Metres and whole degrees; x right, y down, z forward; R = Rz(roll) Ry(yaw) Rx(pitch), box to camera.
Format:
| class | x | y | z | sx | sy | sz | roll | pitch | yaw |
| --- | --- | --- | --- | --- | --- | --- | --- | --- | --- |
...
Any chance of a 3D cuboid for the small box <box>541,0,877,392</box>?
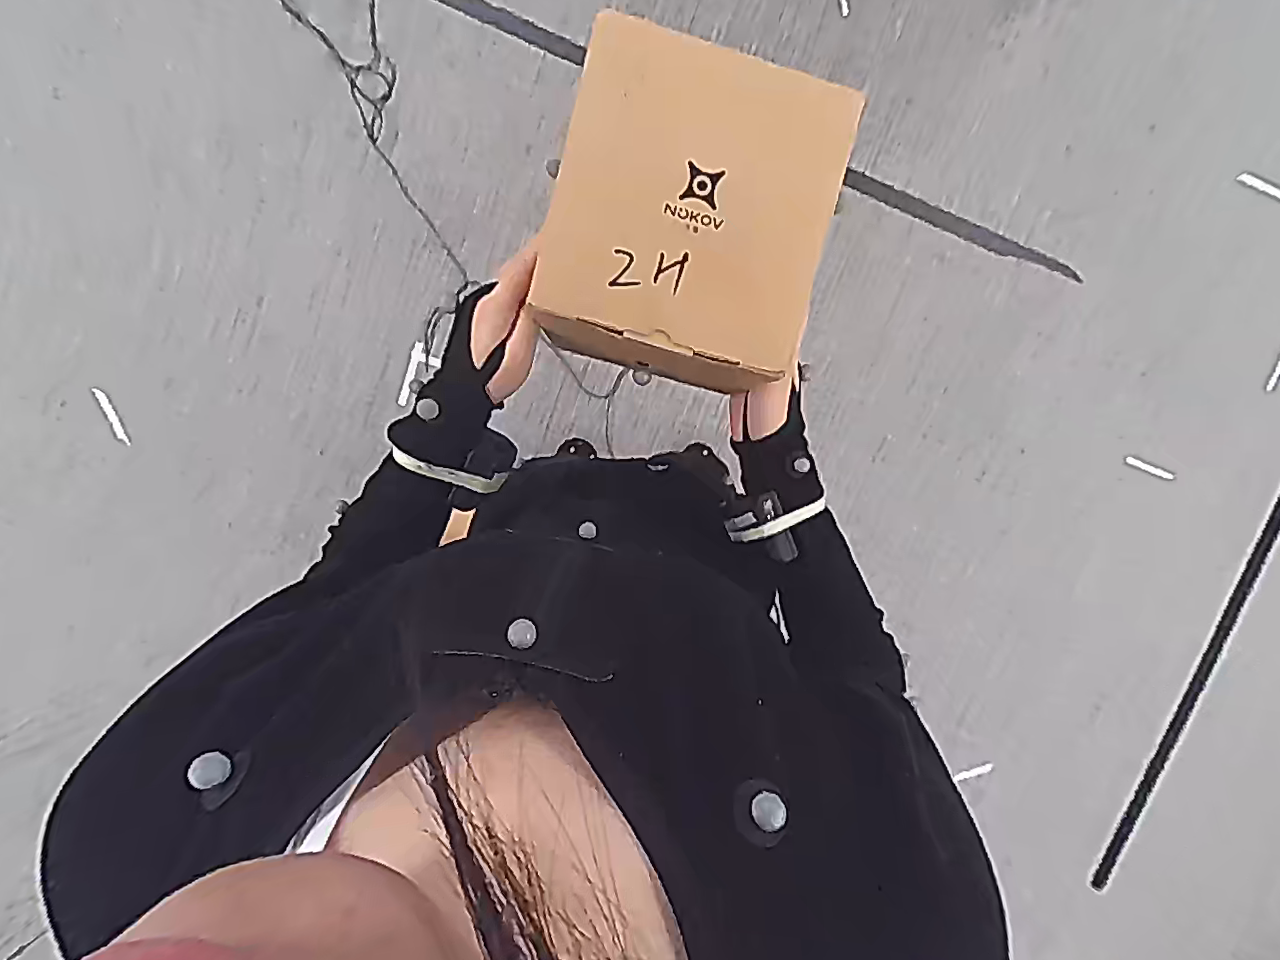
| class | x | y | z | sx | sy | sz | roll | pitch | yaw |
| --- | --- | --- | --- | --- | --- | --- | --- | --- | --- |
| small box | 0.036 | -0.173 | 0.395 | 0.168 | 0.176 | 0.179 | 15 | 94 | -4 |

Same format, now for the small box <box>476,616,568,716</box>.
| class | x | y | z | sx | sy | sz | roll | pitch | yaw |
| --- | --- | --- | --- | --- | --- | --- | --- | --- | --- |
| small box | -0.302 | 0.479 | 1.424 | 0.179 | 0.176 | 0.168 | 22 | 94 | -6 |
